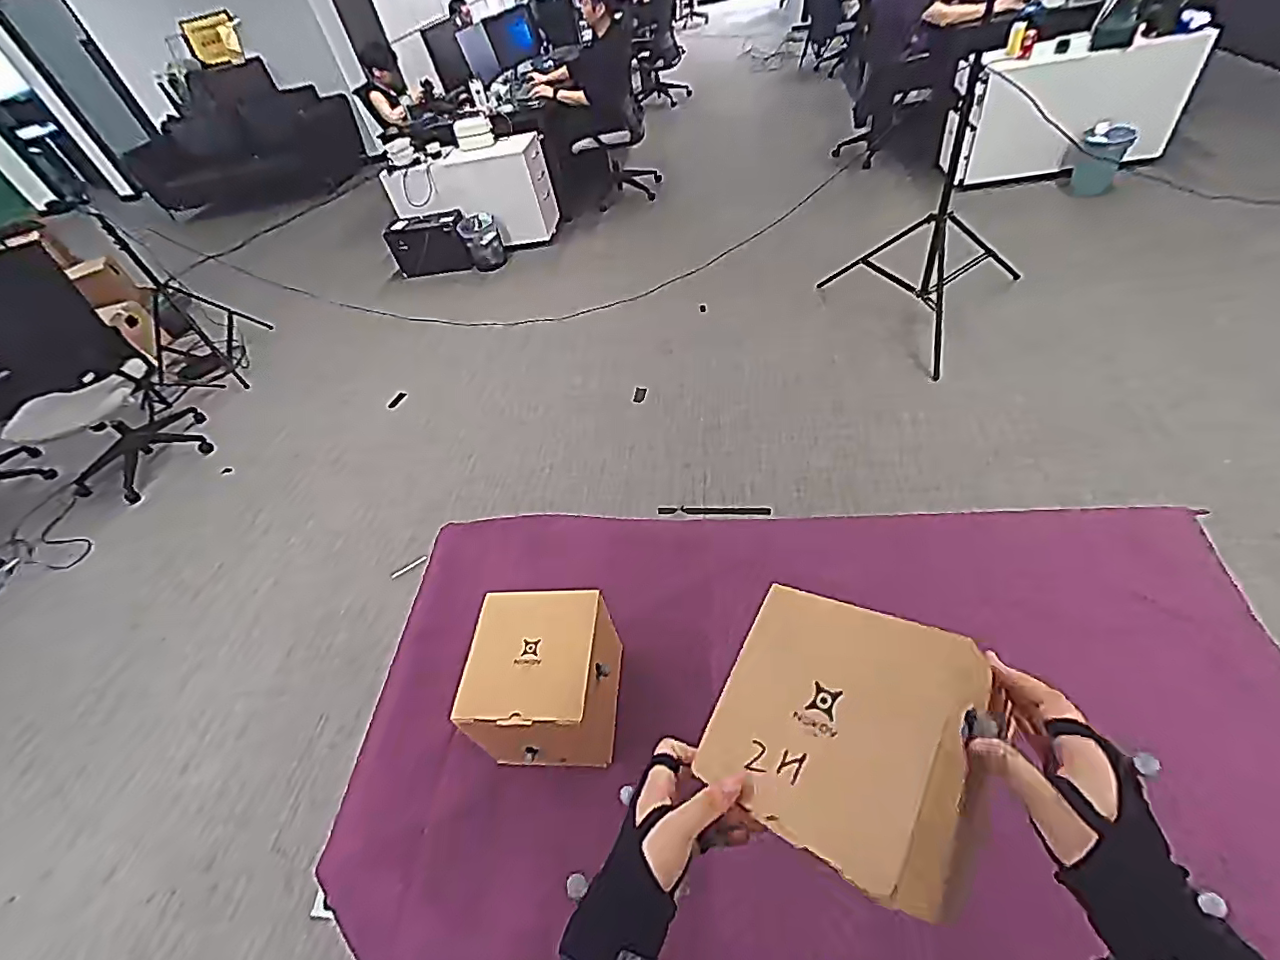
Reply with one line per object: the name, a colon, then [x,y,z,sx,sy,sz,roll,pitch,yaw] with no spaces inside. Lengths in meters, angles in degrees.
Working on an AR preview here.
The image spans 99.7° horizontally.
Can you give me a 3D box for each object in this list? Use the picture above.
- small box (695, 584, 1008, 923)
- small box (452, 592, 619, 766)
small box: [0.182,0.216,0.448,0.168,0.176,0.179,6,58,48]
small box: [-0.127,0.273,0.745,0.168,0.176,0.179,-3,48,9]
